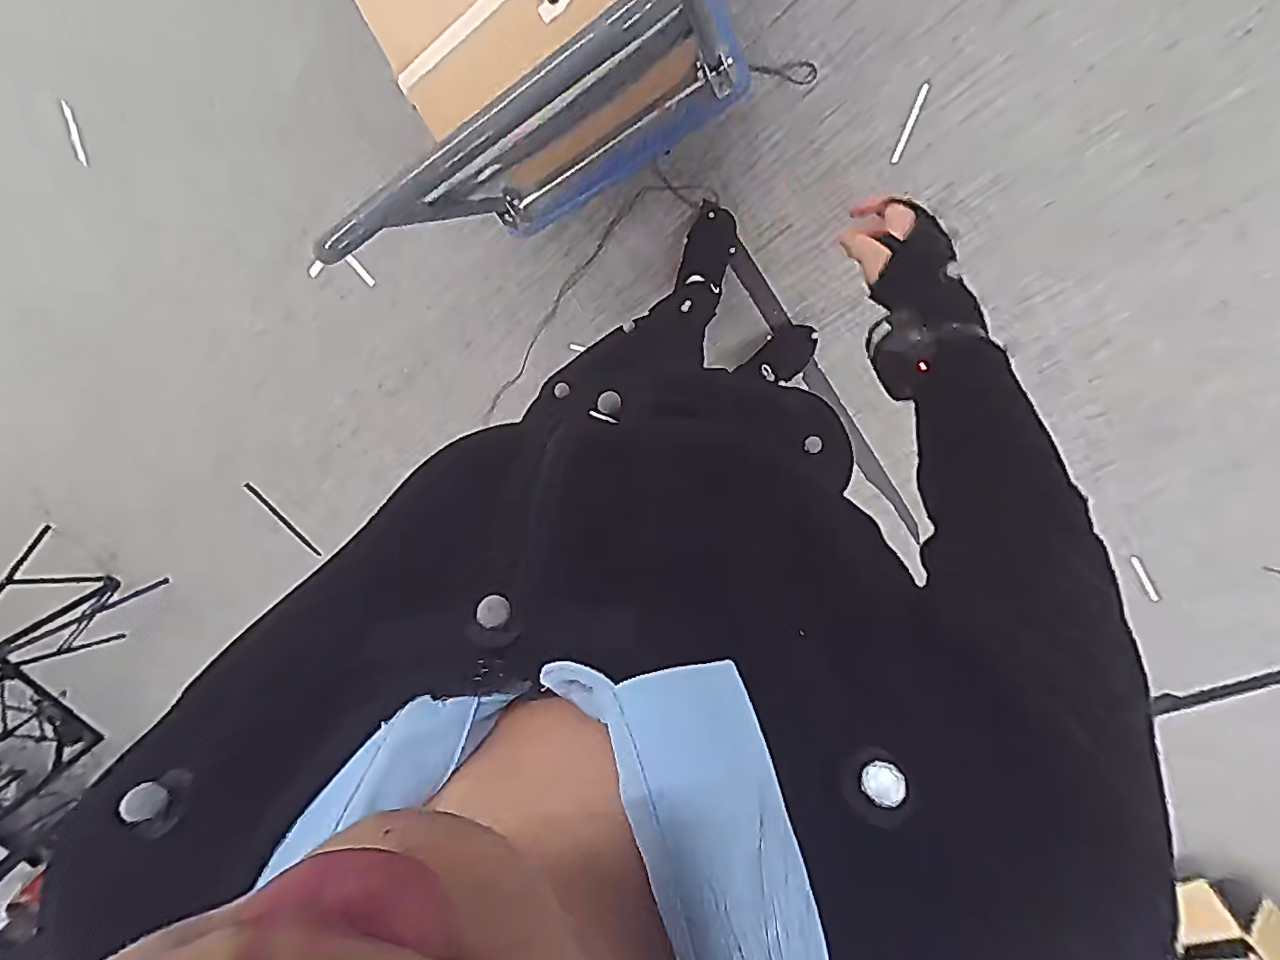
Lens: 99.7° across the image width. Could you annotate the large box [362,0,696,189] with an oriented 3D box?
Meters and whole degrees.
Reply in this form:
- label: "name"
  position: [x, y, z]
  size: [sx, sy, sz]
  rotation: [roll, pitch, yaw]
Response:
- label: "large box"
  position: [-0.162, -0.754, 0.907]
  size: [0.408, 0.320, 0.320]
  rotation: [-23, 109, 21]
